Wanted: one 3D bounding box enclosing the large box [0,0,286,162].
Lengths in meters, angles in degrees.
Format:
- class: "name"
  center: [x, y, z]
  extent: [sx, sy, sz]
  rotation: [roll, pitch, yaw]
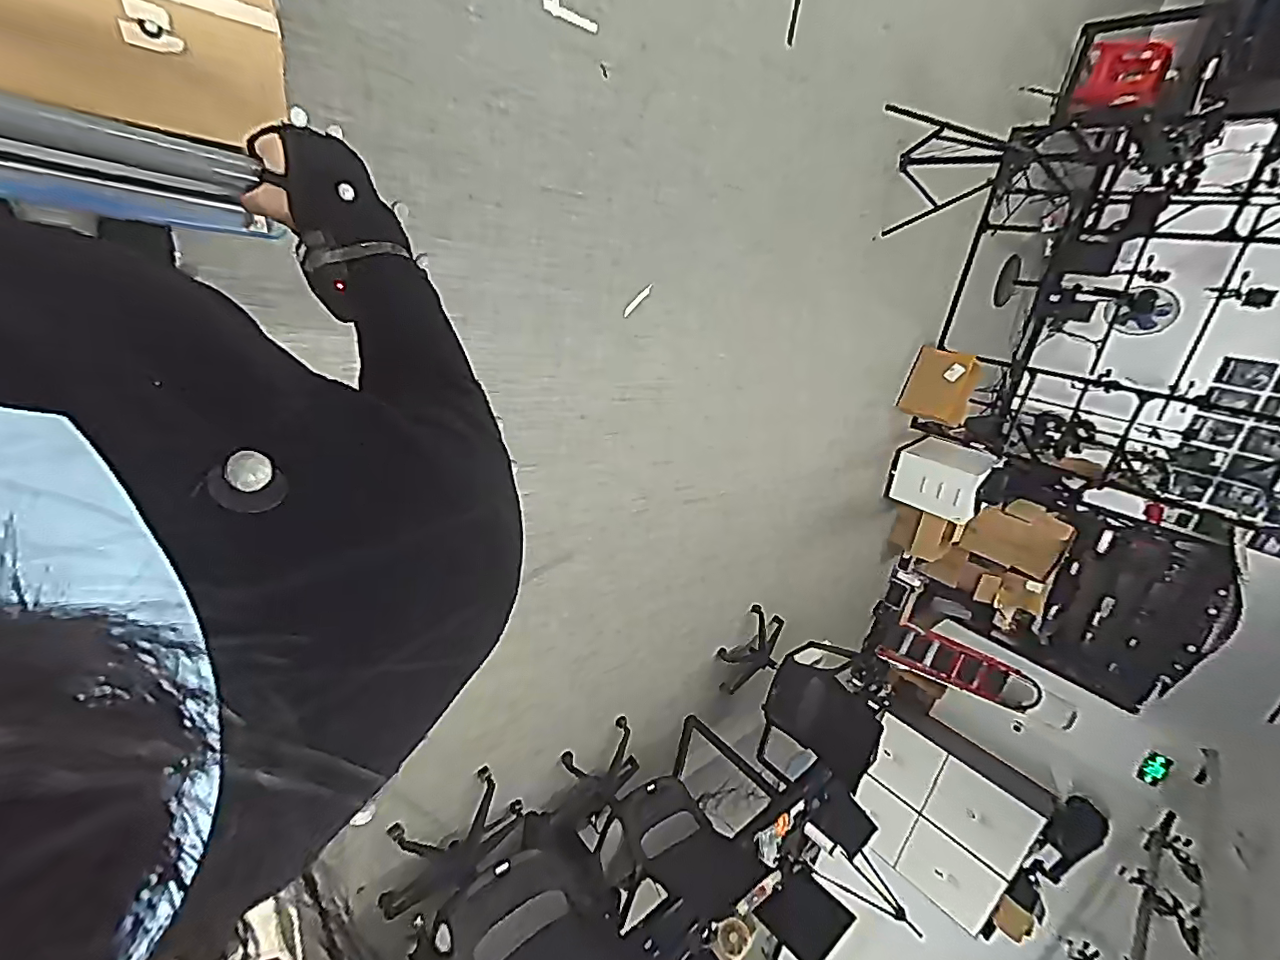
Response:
- class: "large box"
  center: [-0.747, -0.628, 0.698]
  extent: [0.408, 0.320, 0.320]
  rotation: [-14, 120, -42]
